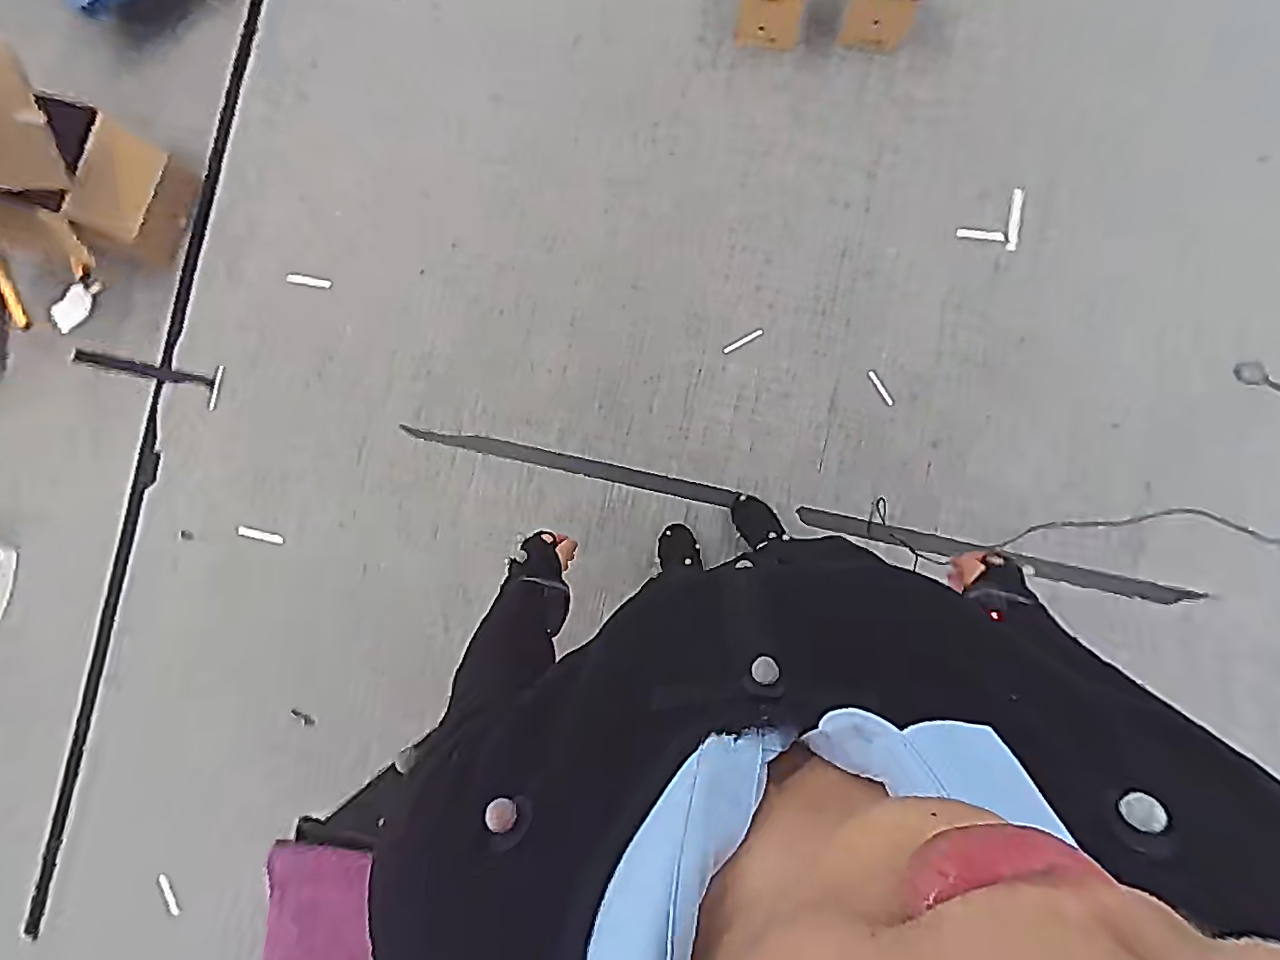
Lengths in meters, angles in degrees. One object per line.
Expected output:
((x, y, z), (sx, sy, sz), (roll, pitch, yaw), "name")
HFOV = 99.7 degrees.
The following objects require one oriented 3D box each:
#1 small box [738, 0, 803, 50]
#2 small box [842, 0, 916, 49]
((0.372, -1.362, 1.510), (0.168, 0.176, 0.179), (12, 88, 8), "small box")
((0.666, -1.329, 1.471), (0.168, 0.176, 0.179), (15, 88, 7), "small box")
